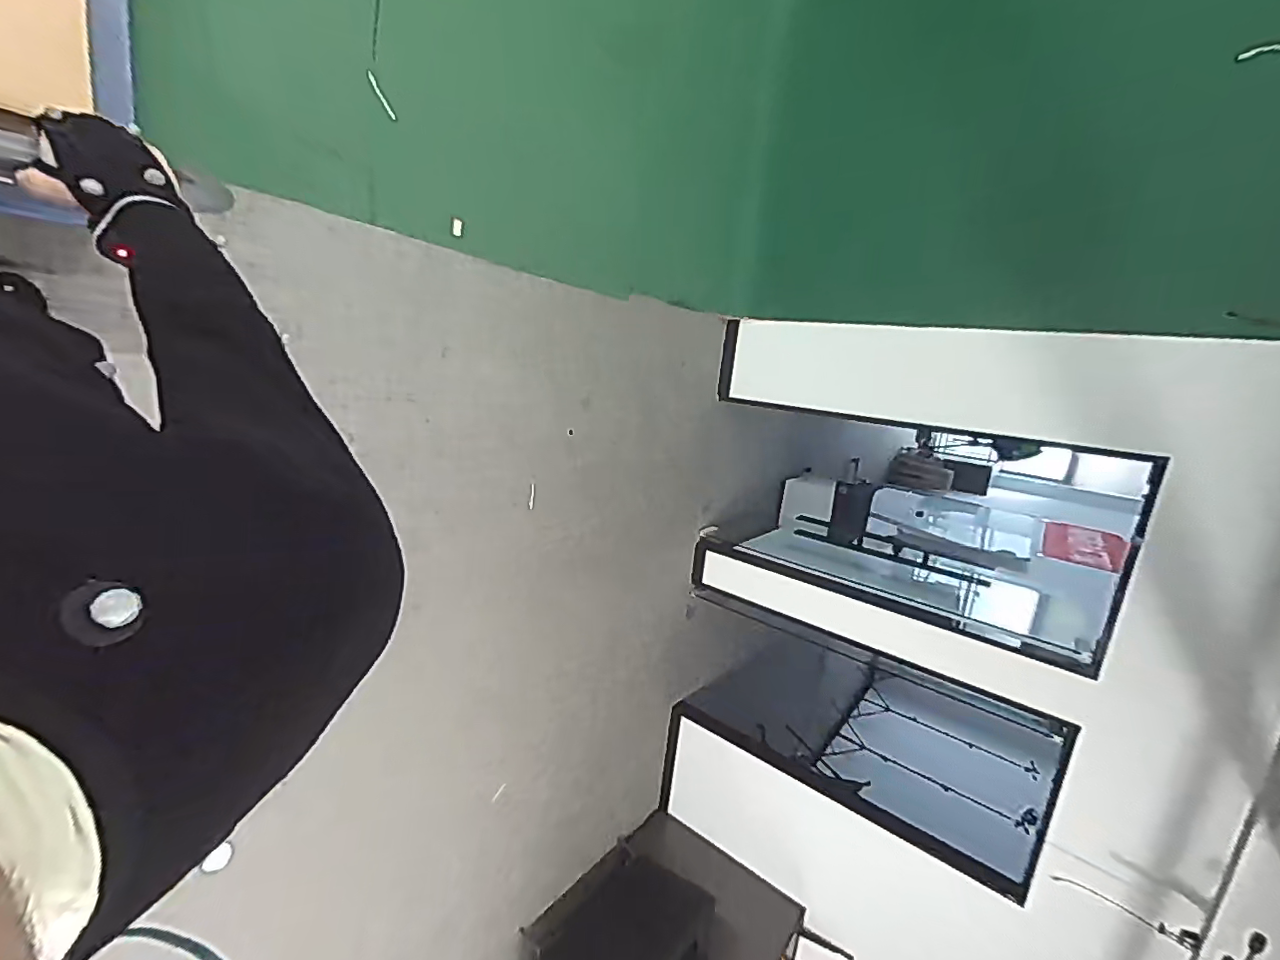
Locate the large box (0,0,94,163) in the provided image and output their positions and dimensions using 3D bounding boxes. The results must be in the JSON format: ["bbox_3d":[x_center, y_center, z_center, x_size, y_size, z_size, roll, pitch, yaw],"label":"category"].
[{"bbox_3d":[-0.991,-0.708,0.718,0.320,0.320,0.408,-9,108,-52],"label":"large box"}]
